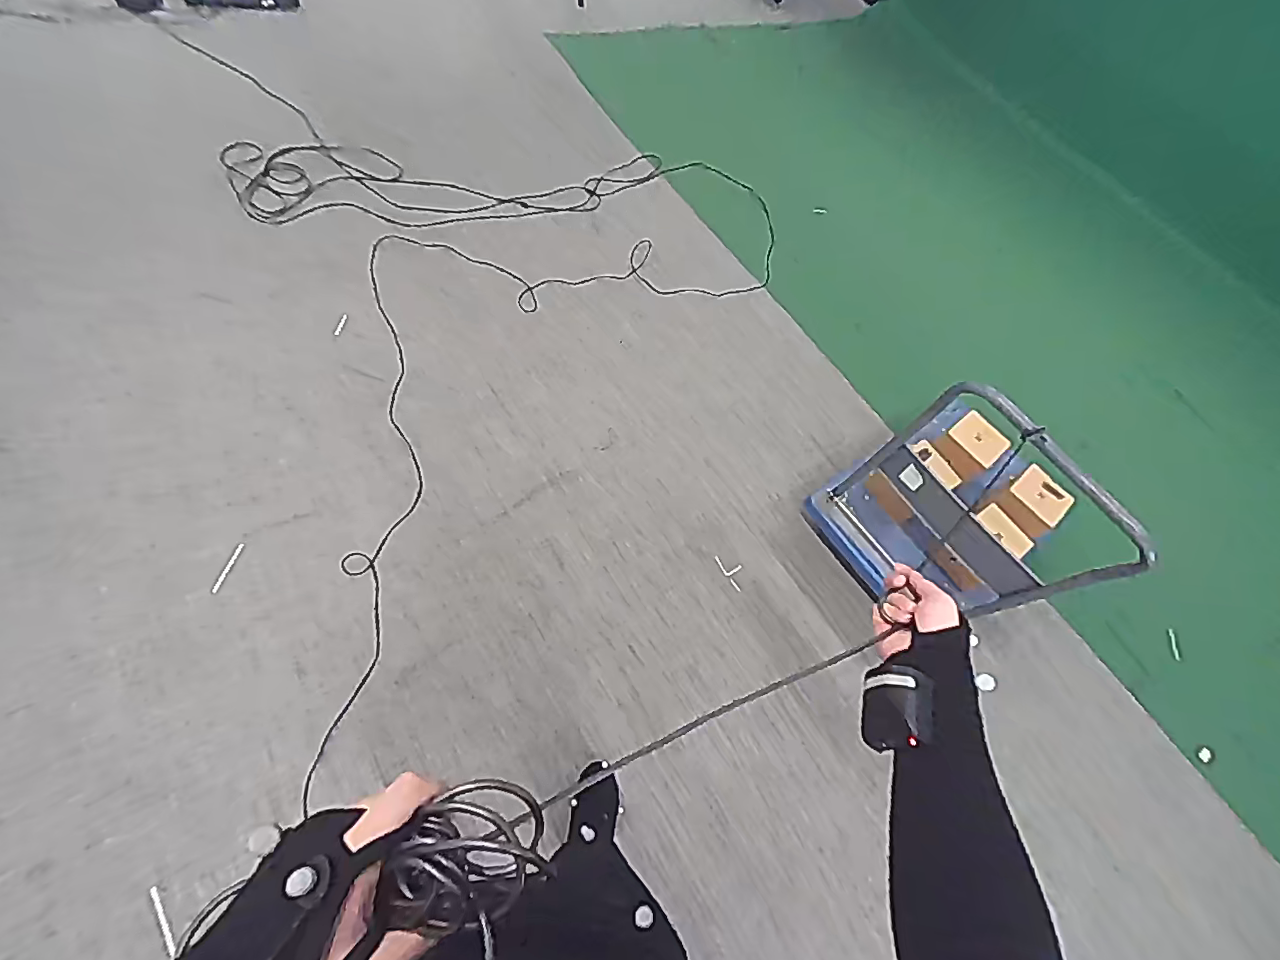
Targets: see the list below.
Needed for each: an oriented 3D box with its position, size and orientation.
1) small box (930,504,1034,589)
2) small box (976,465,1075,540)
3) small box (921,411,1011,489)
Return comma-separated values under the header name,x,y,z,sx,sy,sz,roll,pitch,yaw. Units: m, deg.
name,x,y,z,sx,sy,sz,roll,pitch,yaw
small box,1.037,0.207,1.656,0.179,0.176,0.168,-28,71,-23
small box,1.252,0.089,1.768,0.179,0.176,0.168,-33,73,-25
small box,1.093,-0.096,1.833,0.179,0.176,0.168,-33,74,-26
